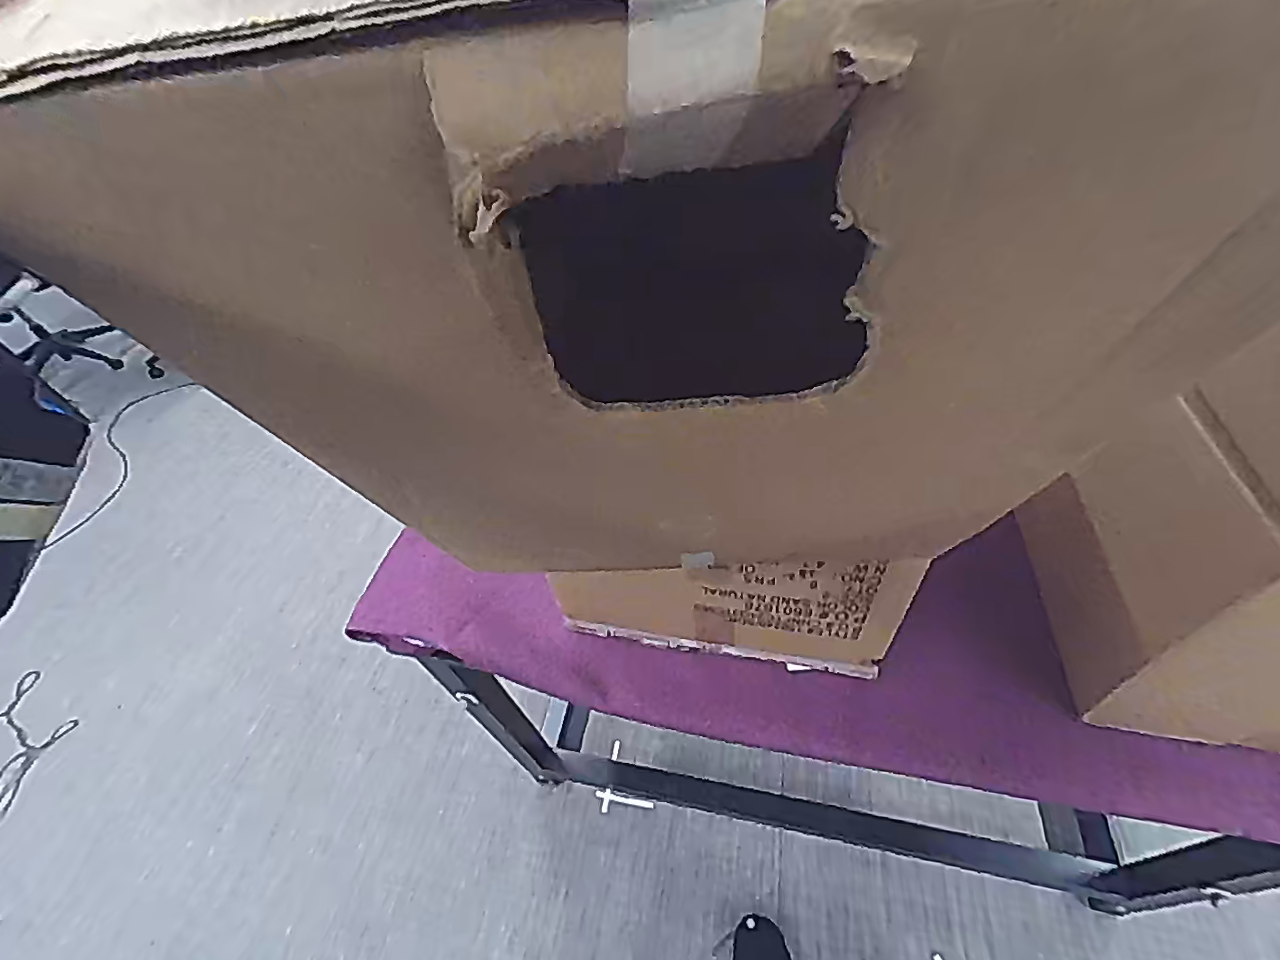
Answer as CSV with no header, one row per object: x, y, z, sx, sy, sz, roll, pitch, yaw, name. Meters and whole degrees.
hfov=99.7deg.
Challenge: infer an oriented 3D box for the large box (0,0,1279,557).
0.031,-0.195,0.306,0.320,0.320,0.408,-4,66,5,large box
